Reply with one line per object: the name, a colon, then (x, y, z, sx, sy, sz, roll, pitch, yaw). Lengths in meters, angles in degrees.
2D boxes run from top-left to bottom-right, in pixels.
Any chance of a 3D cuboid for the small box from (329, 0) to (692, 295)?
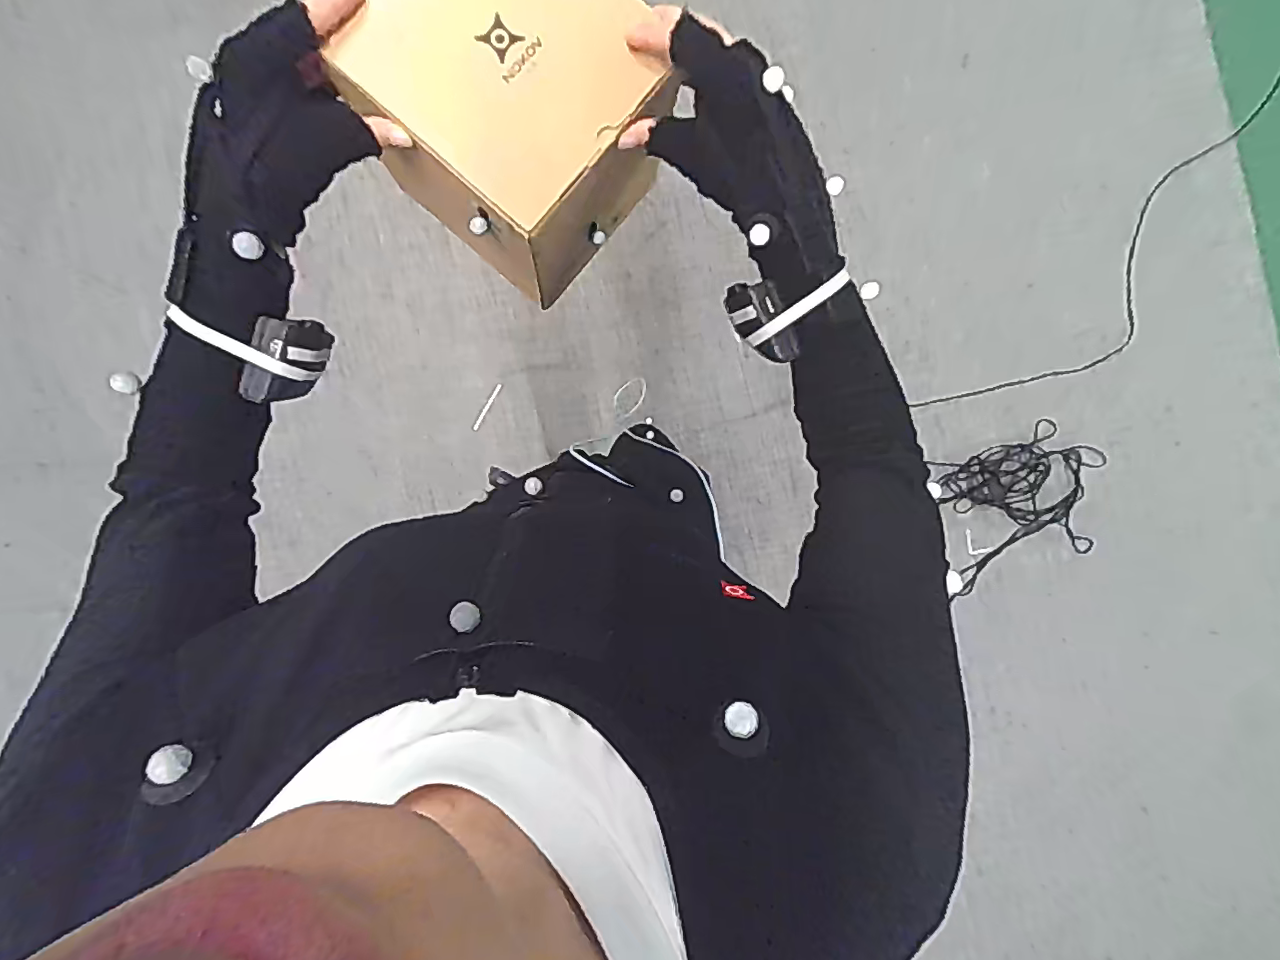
small box: (-0.090, -0.281, 0.430, 0.179, 0.176, 0.168, 40, 86, -7)
